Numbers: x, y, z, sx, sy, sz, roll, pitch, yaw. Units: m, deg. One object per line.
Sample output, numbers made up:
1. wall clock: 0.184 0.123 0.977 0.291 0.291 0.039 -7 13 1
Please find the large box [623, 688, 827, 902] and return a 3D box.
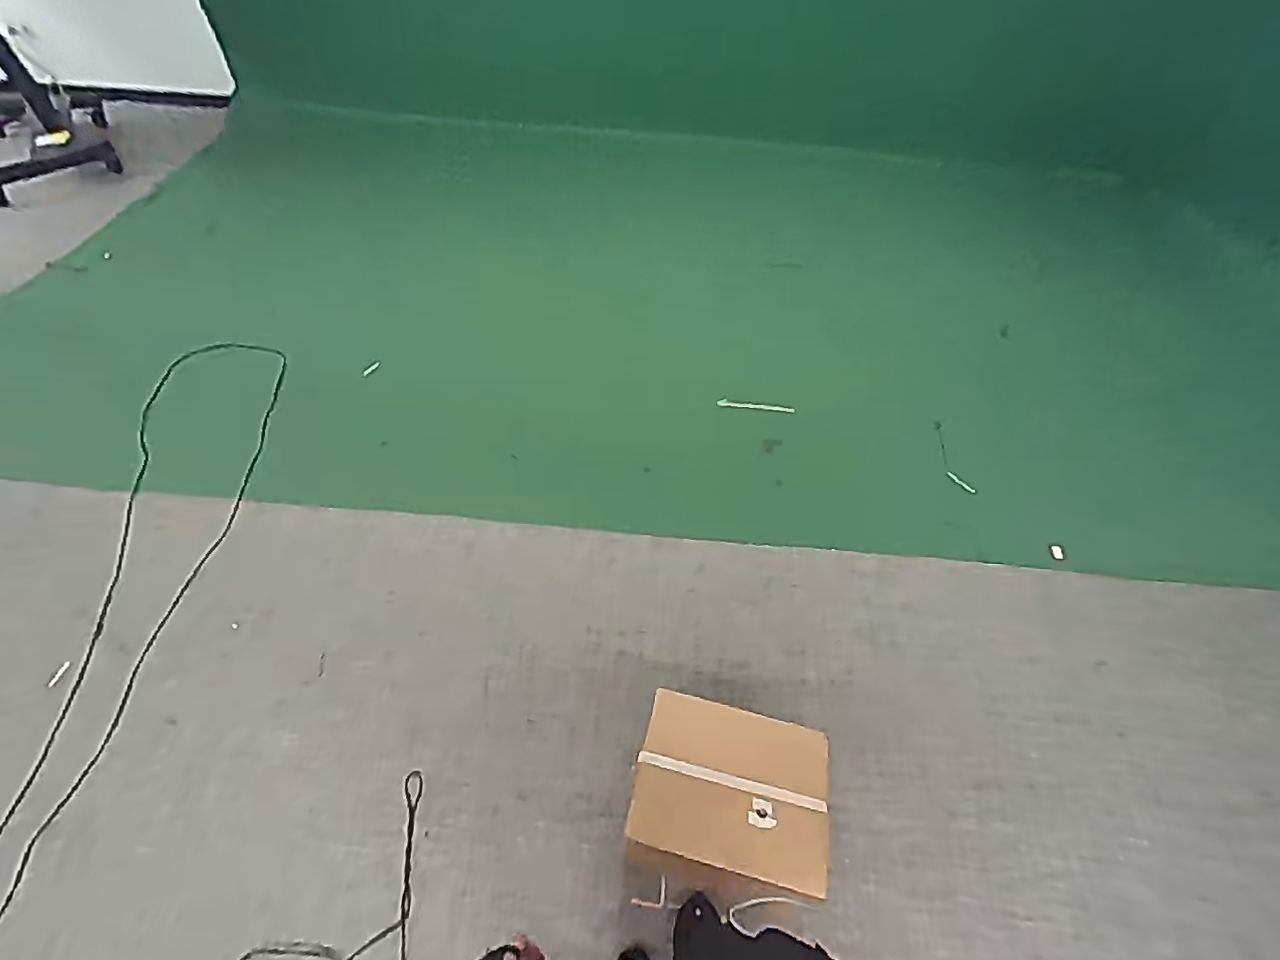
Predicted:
1. large box: 0.191 0.739 1.271 0.408 0.320 0.320 13 50 7
